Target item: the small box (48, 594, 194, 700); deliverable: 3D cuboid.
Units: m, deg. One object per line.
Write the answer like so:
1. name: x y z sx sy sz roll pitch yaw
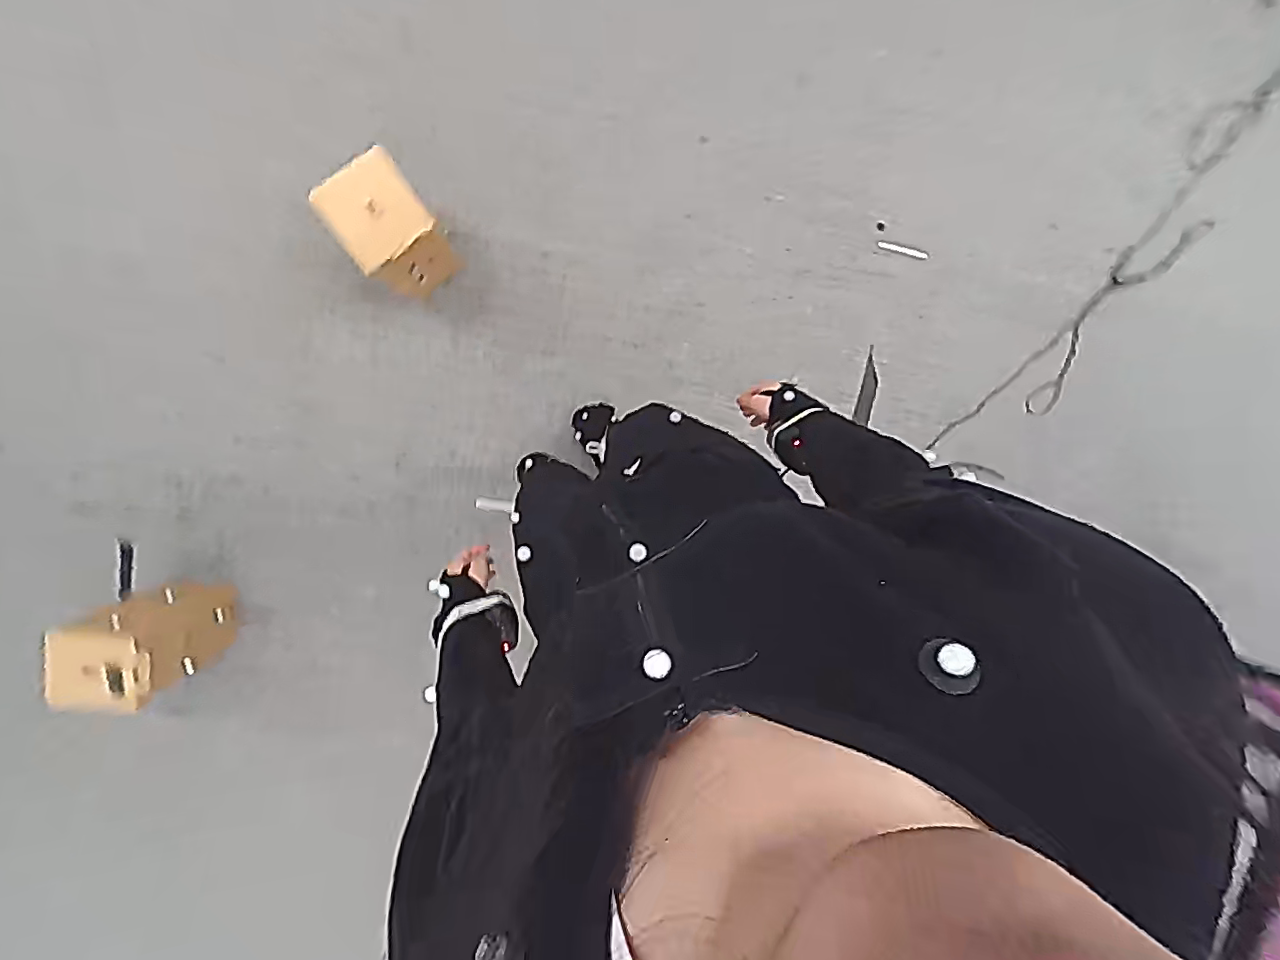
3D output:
1. small box: -1.135 0.362 1.198 0.179 0.176 0.168 7 98 -6

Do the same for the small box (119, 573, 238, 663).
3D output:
1. small box: -1.153 0.342 1.360 0.179 0.176 0.168 6 97 -5

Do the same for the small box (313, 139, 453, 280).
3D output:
1. small box: -0.516 -0.544 1.115 0.168 0.176 0.179 -35 102 0

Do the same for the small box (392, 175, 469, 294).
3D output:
1. small box: -0.534 -0.567 1.276 0.168 0.176 0.179 -35 100 0
